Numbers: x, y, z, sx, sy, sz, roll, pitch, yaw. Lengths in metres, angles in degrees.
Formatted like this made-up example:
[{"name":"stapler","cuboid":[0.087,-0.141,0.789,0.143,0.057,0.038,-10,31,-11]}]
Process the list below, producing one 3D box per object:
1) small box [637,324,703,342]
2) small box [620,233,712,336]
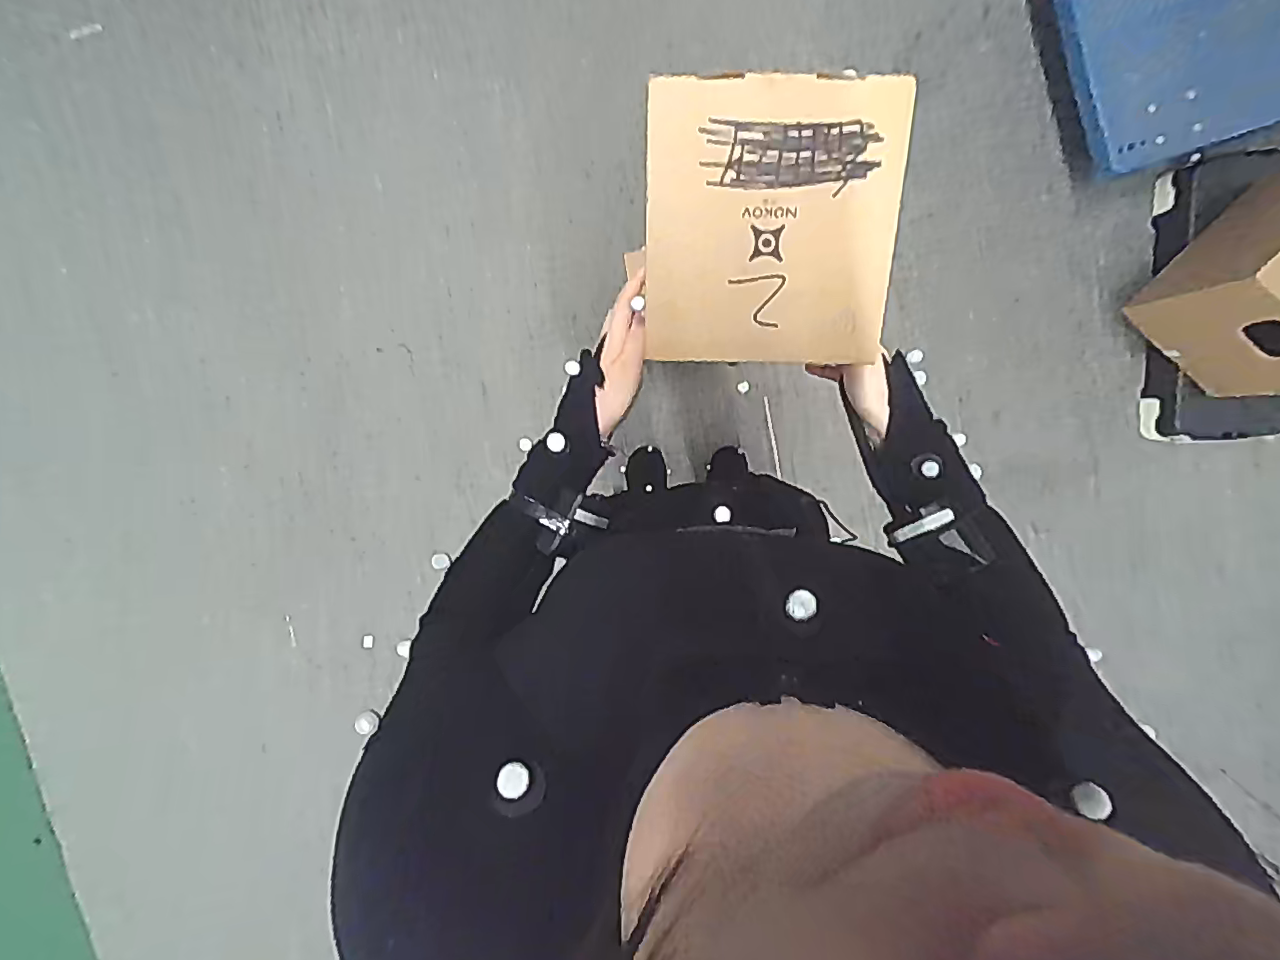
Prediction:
[{"name":"small box","cuboid":[0.066,-0.453,1.373,0.168,0.176,0.179,-10,95,4]},{"name":"small box","cuboid":[0.060,-0.428,1.210,0.179,0.176,0.168,-9,97,4]}]
